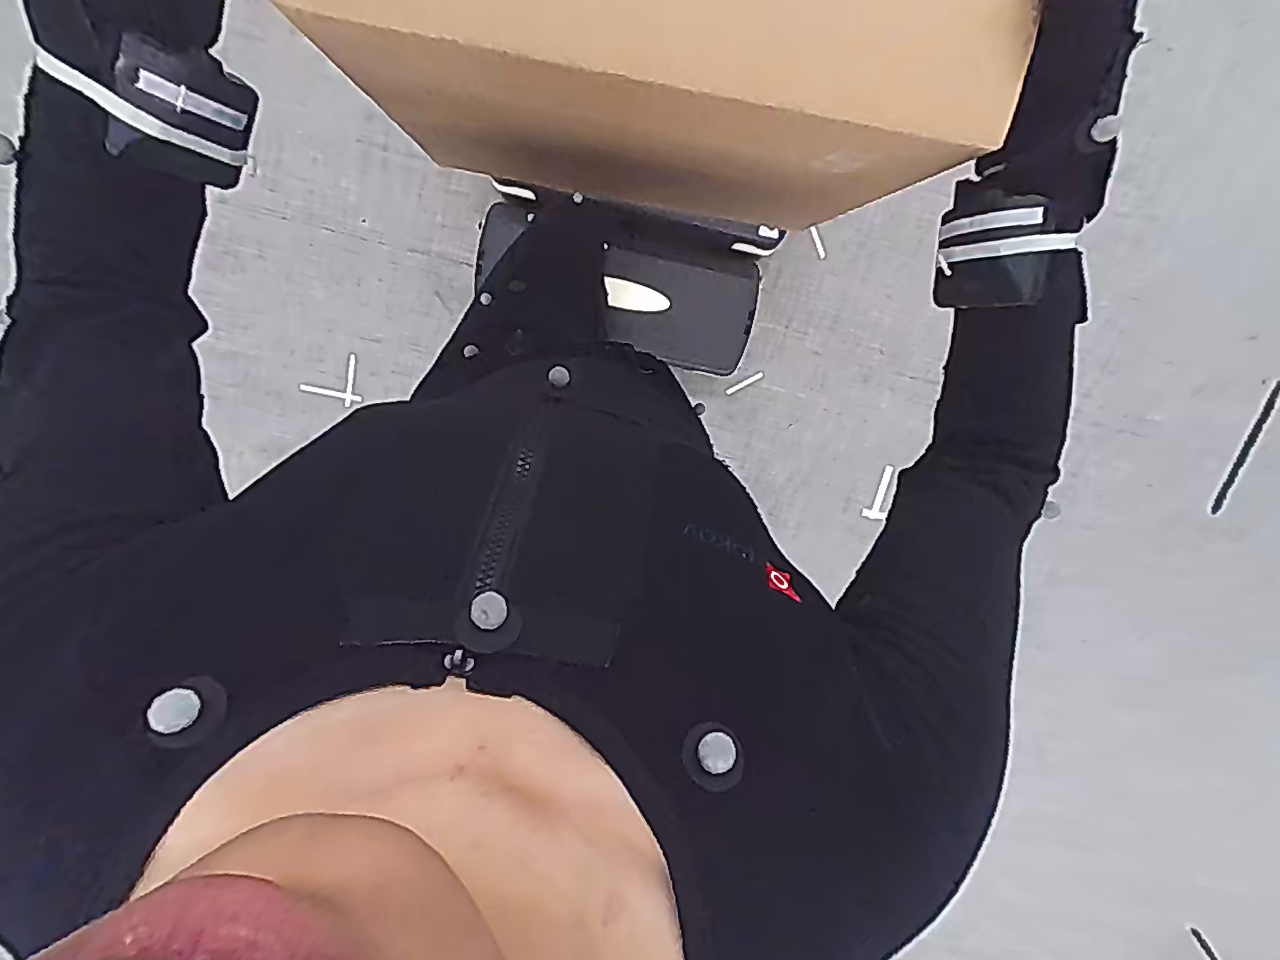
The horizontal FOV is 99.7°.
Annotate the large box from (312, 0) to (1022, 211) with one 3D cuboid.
[{"bbox_3d":[0.019,-0.420,0.402,0.408,0.320,0.320,6,107,-7],"label":"large box"}]

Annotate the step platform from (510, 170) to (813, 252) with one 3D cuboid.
[{"bbox_3d":[0.059,-0.726,1.197,0.684,0.204,0.286,10,105,-6],"label":"step platform"}]
